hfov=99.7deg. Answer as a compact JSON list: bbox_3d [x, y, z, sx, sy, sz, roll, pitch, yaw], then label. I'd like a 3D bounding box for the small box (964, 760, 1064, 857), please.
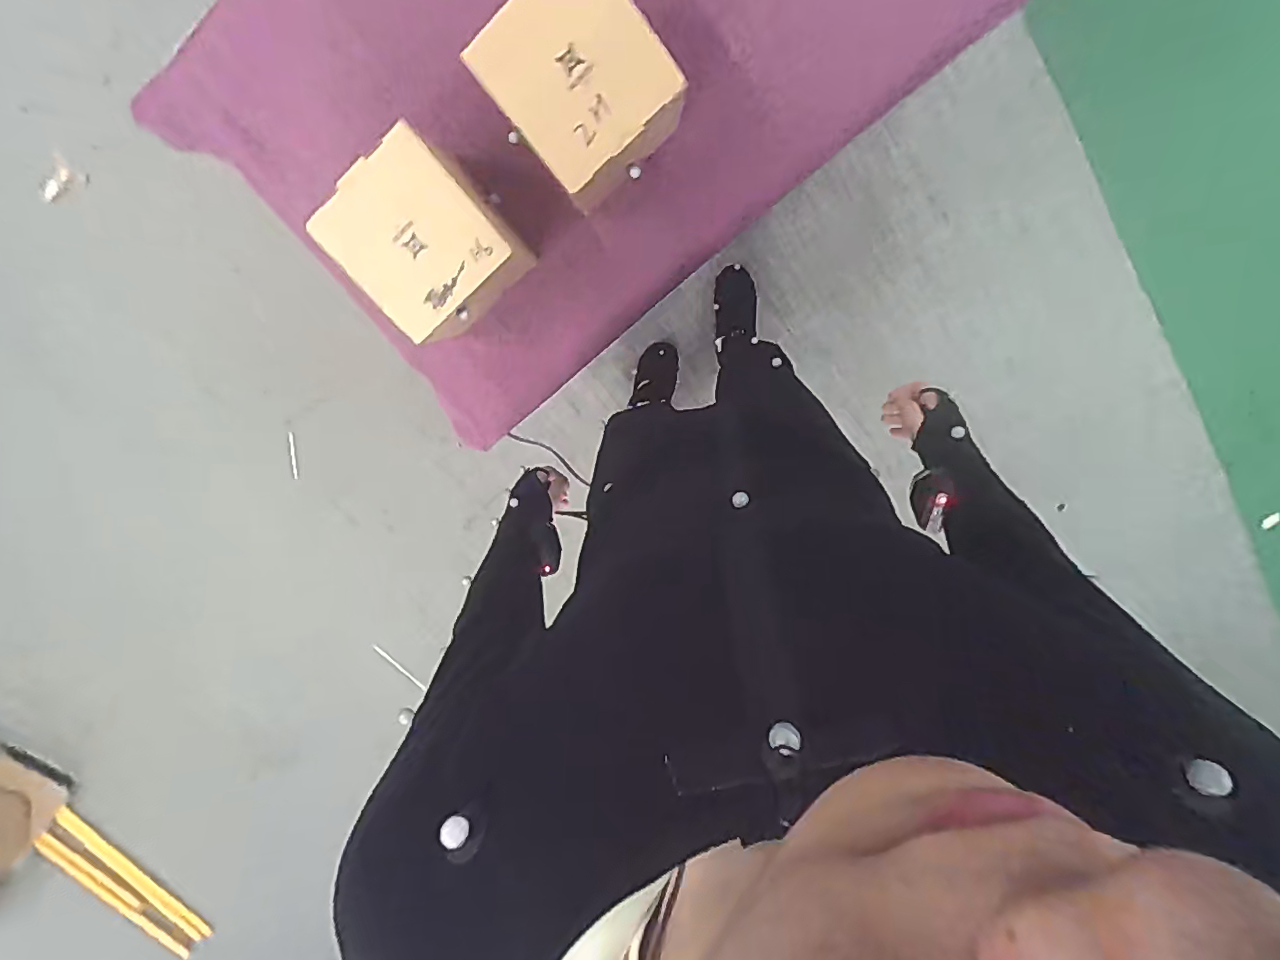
[{"bbox_3d":[1.142,1.000,1.665,0.168,0.176,0.179,-31,107,8],"label":"small box"}]

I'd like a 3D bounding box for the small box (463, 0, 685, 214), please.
[{"bbox_3d":[-0.069,-0.447,0.637,0.168,0.176,0.179,-39,105,12],"label":"small box"}]

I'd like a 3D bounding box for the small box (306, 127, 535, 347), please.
[{"bbox_3d":[-0.260,-0.291,0.686,0.168,0.176,0.179,-38,104,13],"label":"small box"}]
